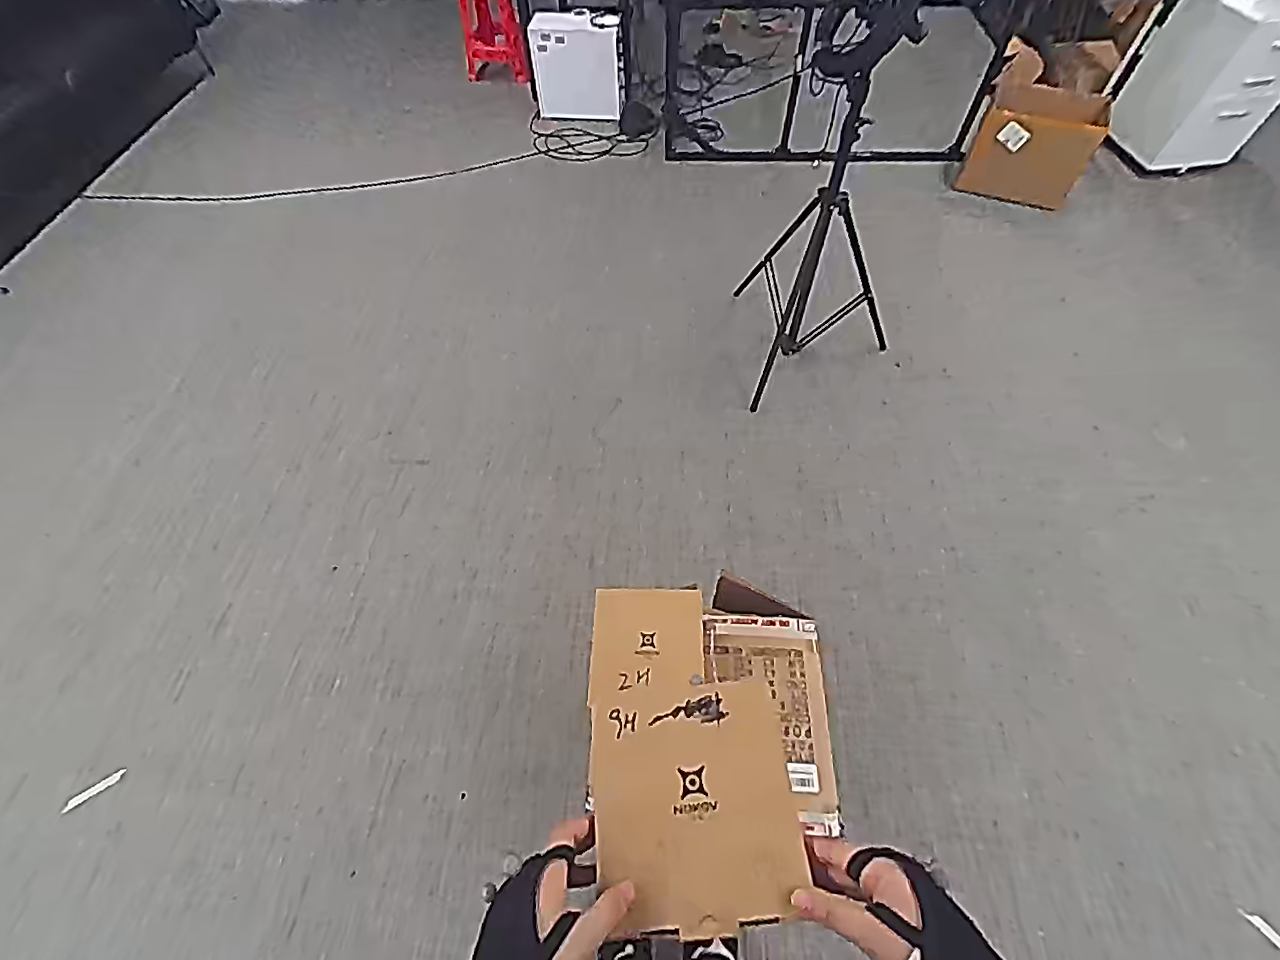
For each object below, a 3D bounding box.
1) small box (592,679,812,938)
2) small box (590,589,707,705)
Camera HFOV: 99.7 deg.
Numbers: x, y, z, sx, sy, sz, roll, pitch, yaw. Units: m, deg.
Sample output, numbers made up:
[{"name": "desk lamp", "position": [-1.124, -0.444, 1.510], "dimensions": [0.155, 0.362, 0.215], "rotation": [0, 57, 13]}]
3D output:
[{"name": "small box", "position": [0.049, 0.308, 0.517], "dimensions": [0.168, 0.176, 0.179], "rotation": [-6, 55, 0]}, {"name": "small box", "position": [0.019, 0.286, 0.861], "dimensions": [0.168, 0.176, 0.179], "rotation": [-1, 60, 4]}]
